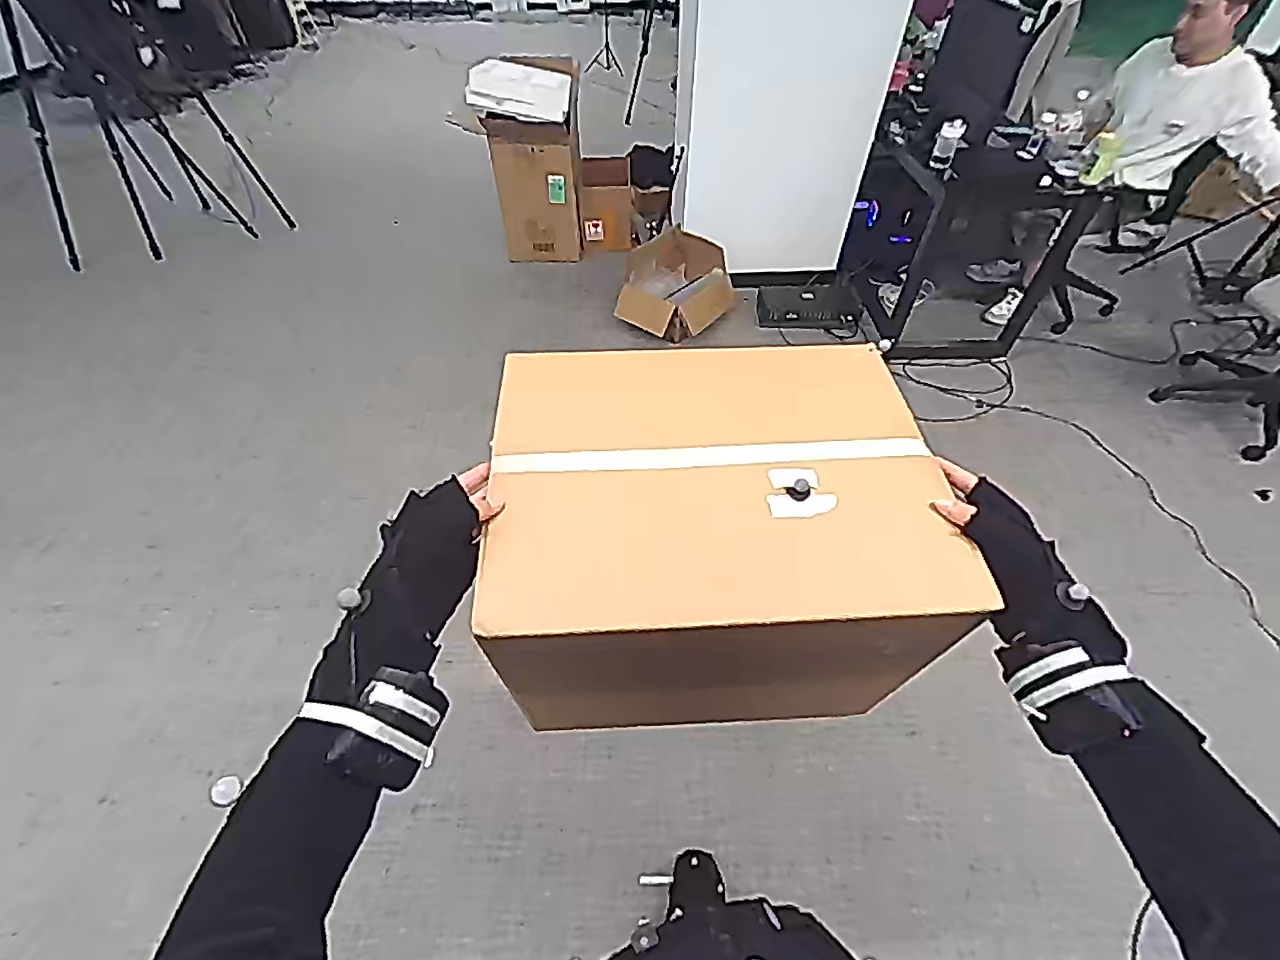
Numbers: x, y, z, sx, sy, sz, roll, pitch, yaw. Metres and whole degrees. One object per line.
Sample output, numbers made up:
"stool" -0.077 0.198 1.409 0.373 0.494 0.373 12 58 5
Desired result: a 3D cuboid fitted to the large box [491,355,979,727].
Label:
"large box" 0.066 0.077 0.634 0.408 0.320 0.320 -2 53 -3
